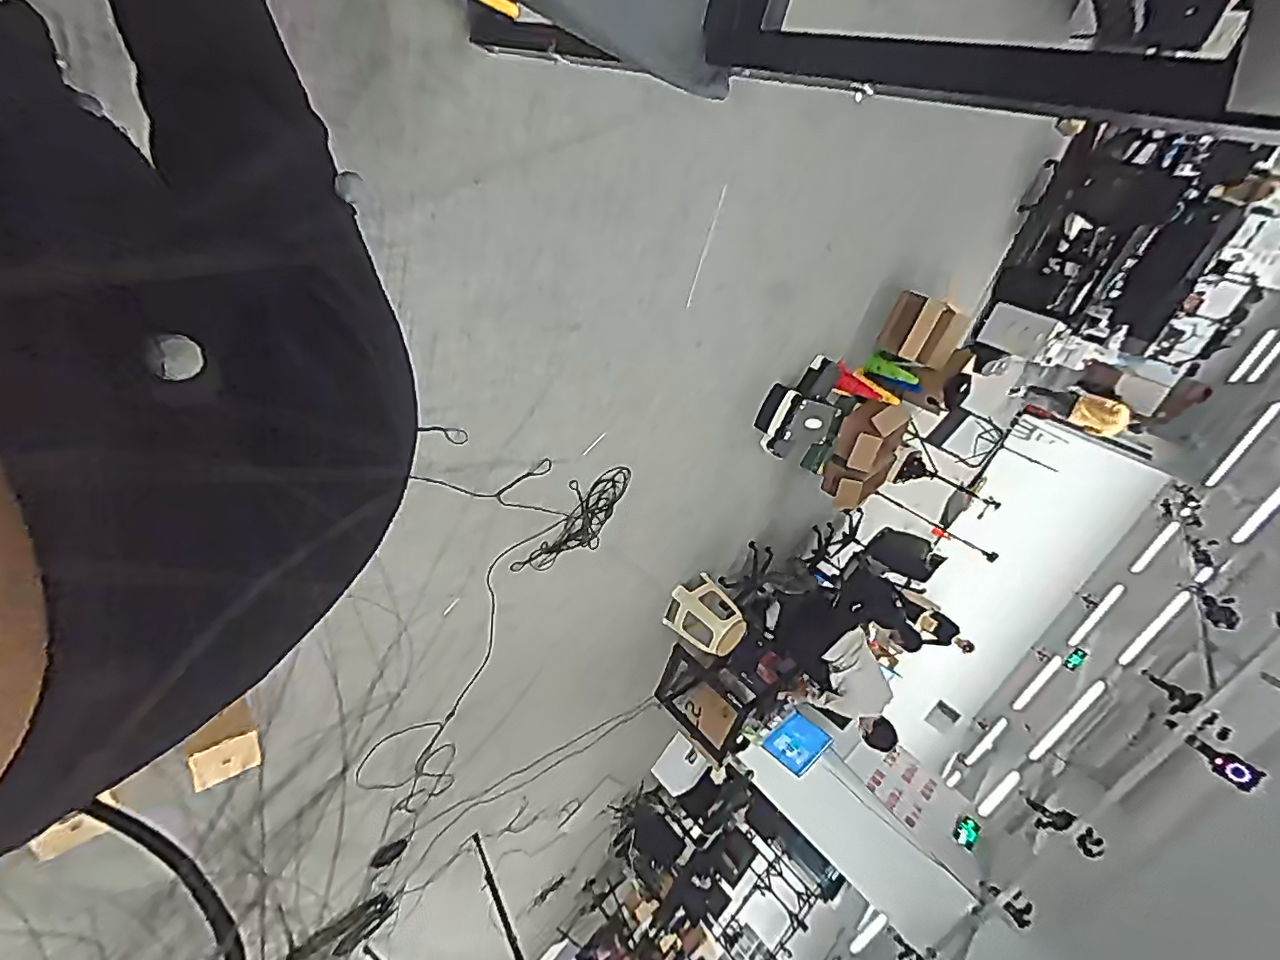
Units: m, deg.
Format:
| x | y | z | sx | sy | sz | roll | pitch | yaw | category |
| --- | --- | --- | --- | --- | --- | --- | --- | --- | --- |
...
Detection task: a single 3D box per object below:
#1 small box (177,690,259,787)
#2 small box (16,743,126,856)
| x | y | z | sx | sy | sz | roll | pitch | yaw | category |
| --- | --- | --- | --- | --- | --- | --- | --- | --- | --- |
| -1.305 | 0.794 | 1.674 | 0.168 | 0.176 | 0.179 | -15 | 130 | -44 | small box |
| -1.525 | 0.846 | 1.451 | 0.168 | 0.176 | 0.179 | -18 | 134 | -40 | small box |
